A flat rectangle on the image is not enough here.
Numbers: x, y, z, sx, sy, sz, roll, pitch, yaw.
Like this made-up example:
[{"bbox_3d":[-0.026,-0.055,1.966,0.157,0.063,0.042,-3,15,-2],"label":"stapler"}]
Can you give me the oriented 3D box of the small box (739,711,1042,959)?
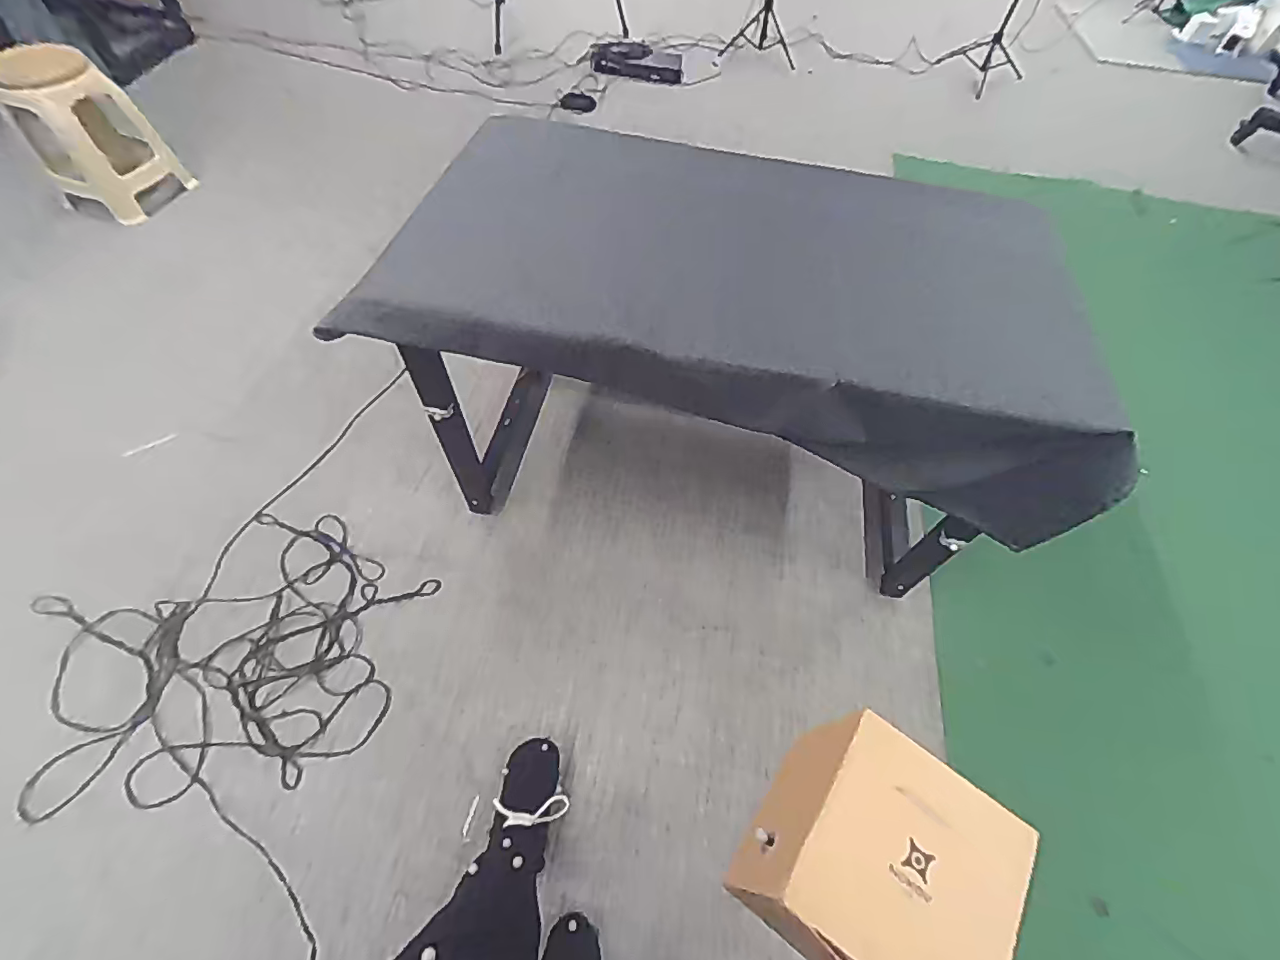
[{"bbox_3d":[0.209,0.350,0.491,0.168,0.176,0.179,35,58,13],"label":"small box"}]
